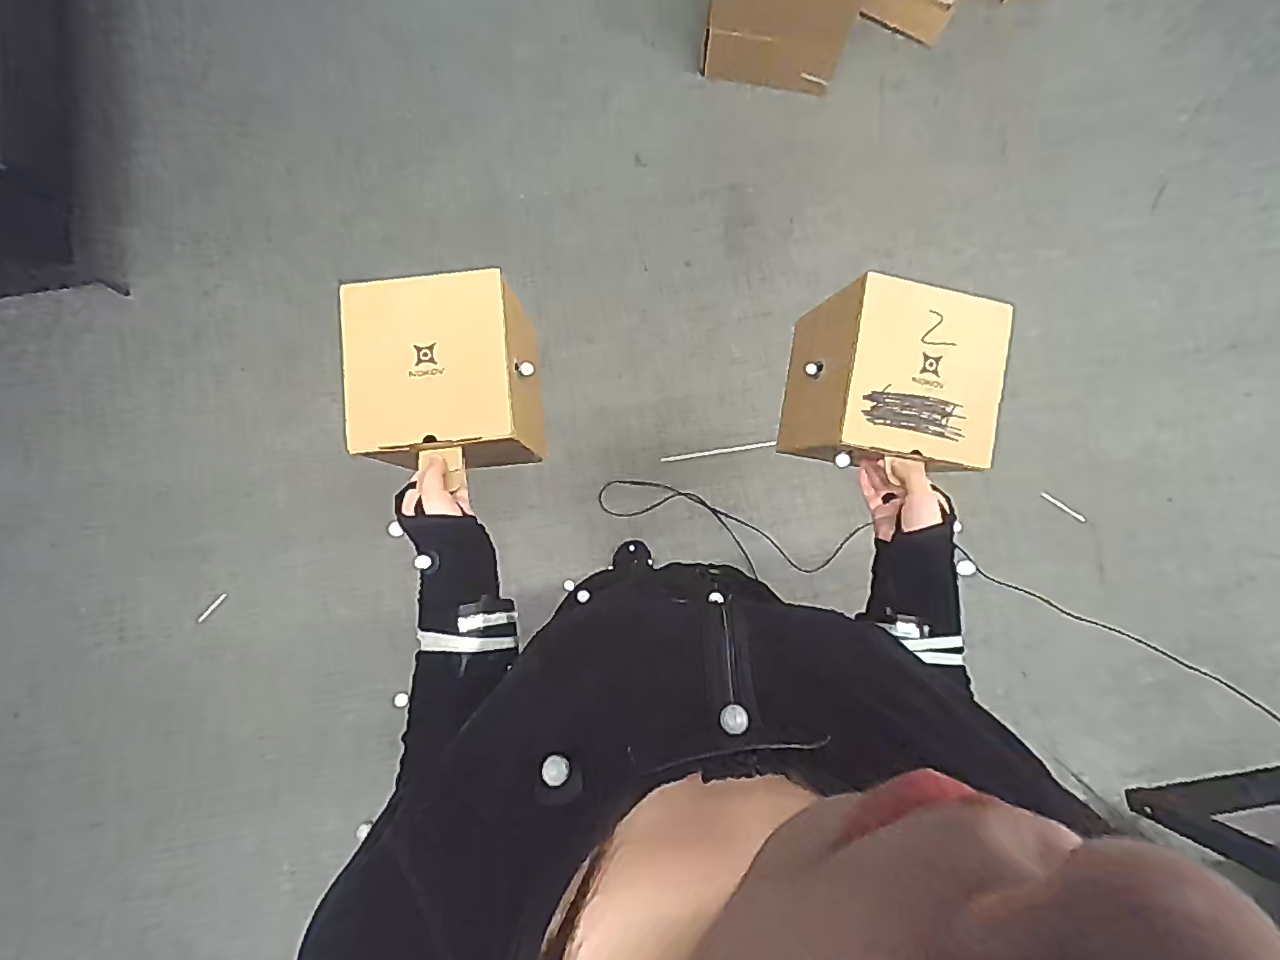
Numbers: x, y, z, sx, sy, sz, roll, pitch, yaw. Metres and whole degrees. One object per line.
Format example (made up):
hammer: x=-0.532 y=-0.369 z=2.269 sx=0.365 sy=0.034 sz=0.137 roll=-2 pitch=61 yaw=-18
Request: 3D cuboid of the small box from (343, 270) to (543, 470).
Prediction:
small box: x=-0.211 y=-0.113 z=0.616 sx=0.168 sy=0.176 sz=0.179 roll=-5 pitch=85 yaw=0
